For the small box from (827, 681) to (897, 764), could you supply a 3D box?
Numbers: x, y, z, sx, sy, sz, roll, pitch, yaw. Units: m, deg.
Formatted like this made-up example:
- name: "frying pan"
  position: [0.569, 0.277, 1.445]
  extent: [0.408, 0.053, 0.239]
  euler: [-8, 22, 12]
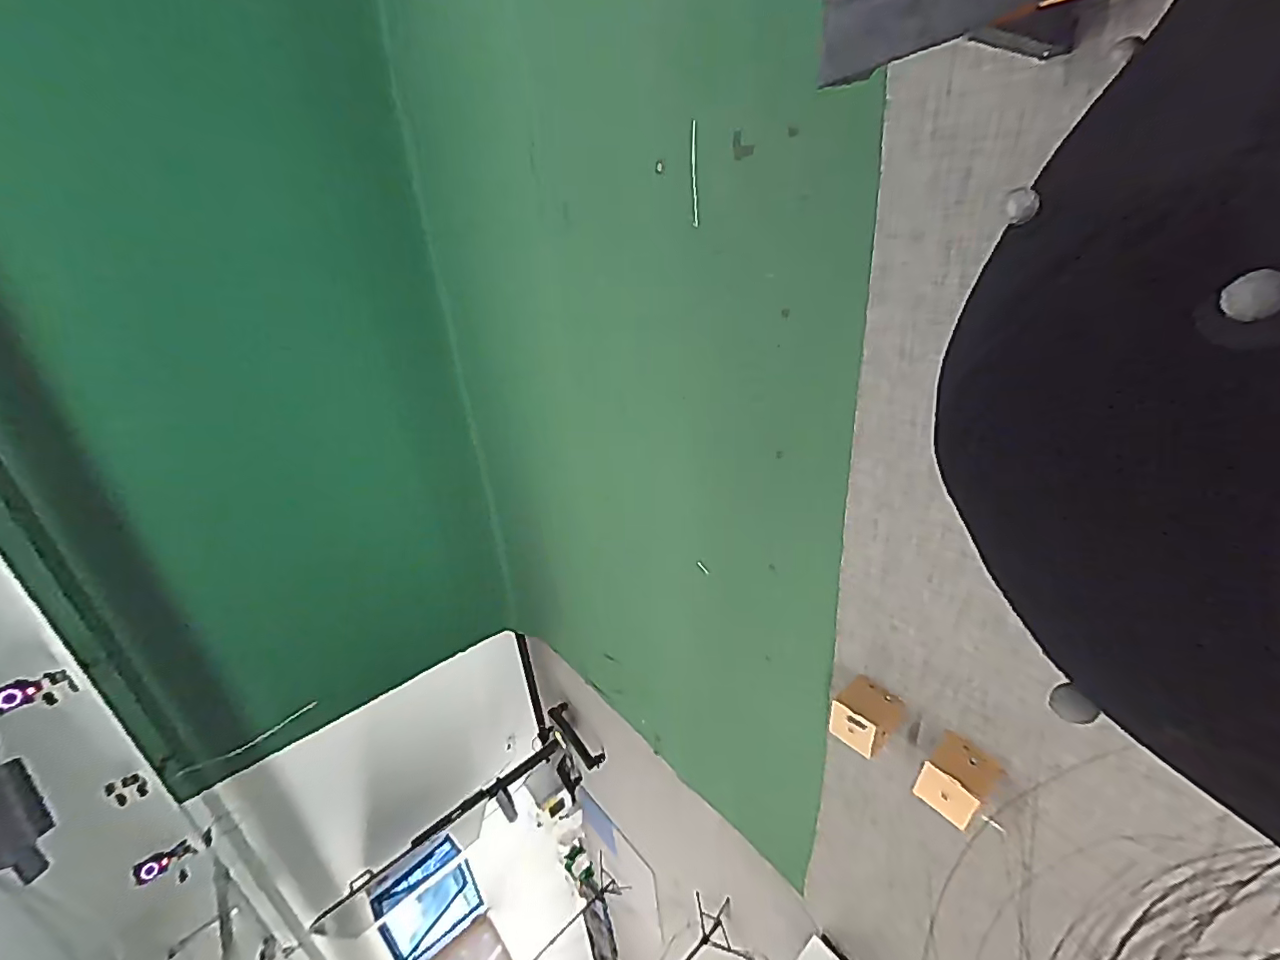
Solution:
- name: "small box"
  position: [0.802, 0.866, 1.952]
  extent: [0.168, 0.176, 0.179]
  euler: [25, 129, 44]

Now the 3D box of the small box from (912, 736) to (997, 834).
- name: "small box"
  position: [1.010, 0.973, 1.734]
  extent: [0.168, 0.176, 0.179]
  euler: [30, 131, 41]
